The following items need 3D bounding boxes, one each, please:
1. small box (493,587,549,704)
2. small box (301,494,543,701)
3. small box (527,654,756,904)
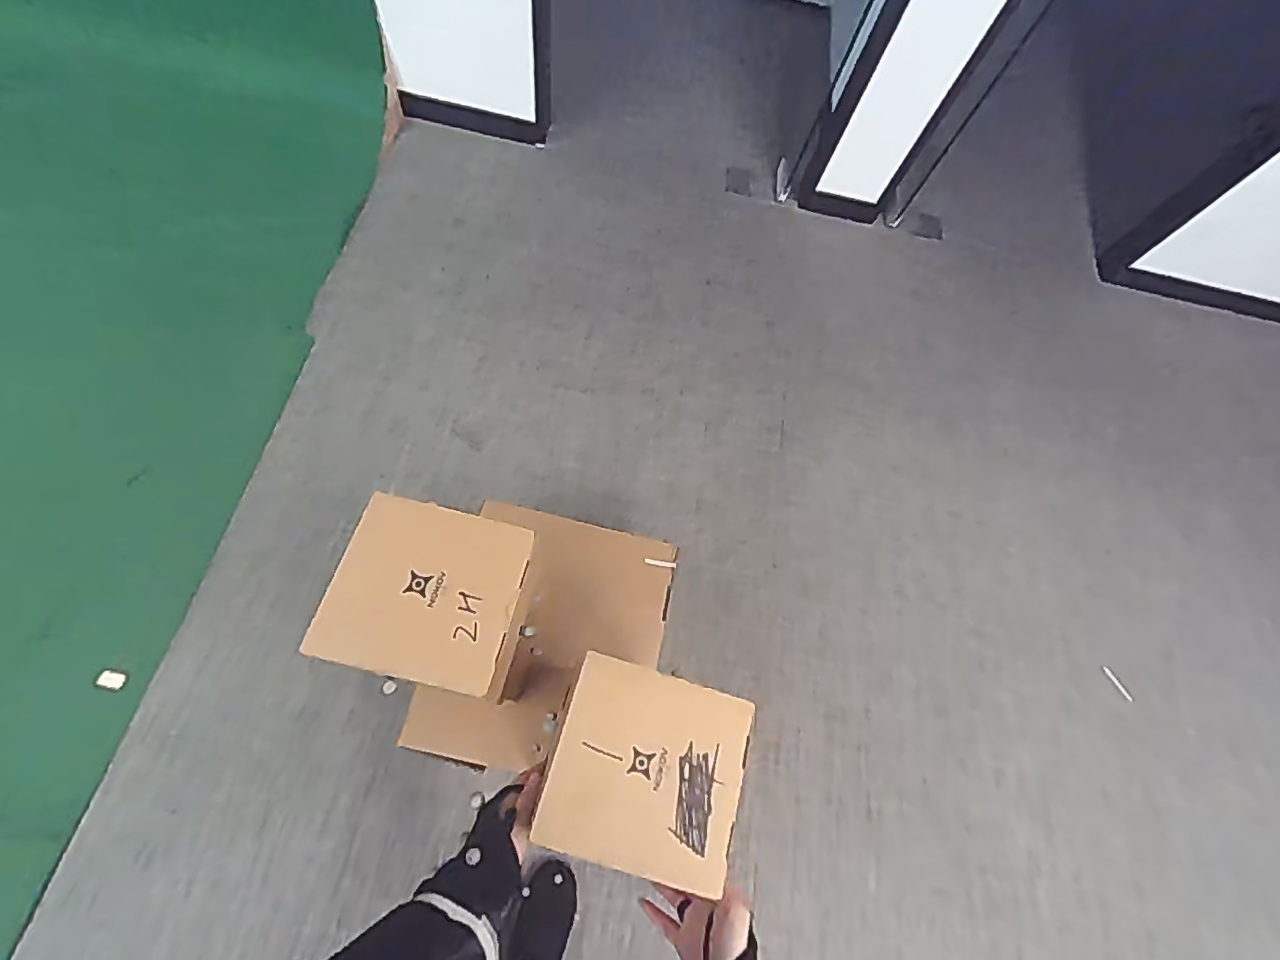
[{"bbox_3d":[-0.257,0.259,0.897,0.168,0.176,0.179,17,64,0],"label":"small box"},{"bbox_3d":[-0.215,0.139,0.592,0.179,0.176,0.168,15,65,-1],"label":"small box"},{"bbox_3d":[-0.003,0.294,0.561,0.179,0.176,0.168,18,65,-1],"label":"small box"}]
